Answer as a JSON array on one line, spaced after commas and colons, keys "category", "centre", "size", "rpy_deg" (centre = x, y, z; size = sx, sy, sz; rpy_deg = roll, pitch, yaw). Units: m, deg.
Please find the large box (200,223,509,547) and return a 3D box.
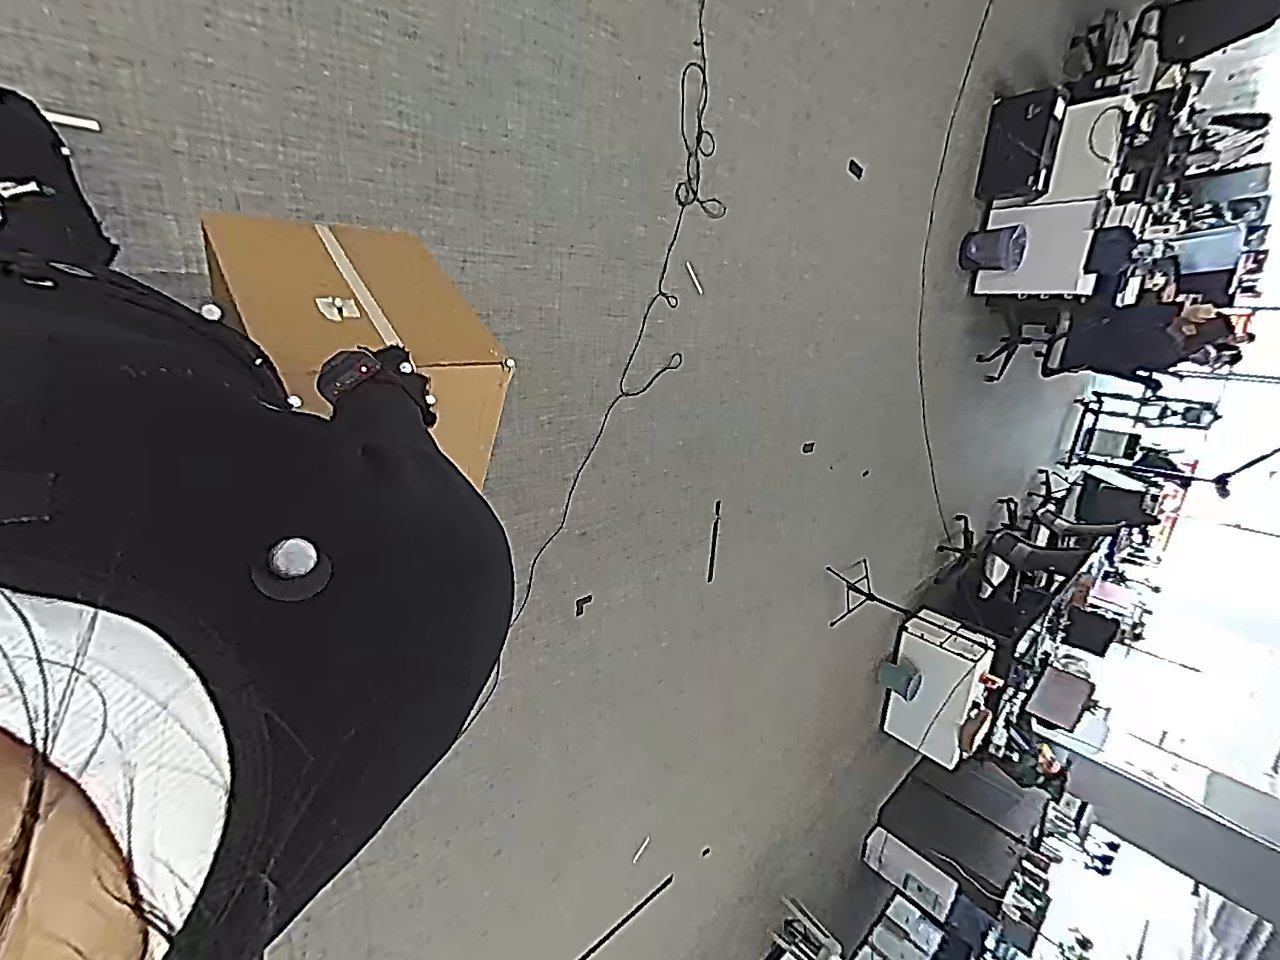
[{"category": "large box", "centre": [-0.476, -0.163, 0.893], "size": [0.320, 0.408, 0.320], "rpy_deg": [-14, 144, -40]}]
